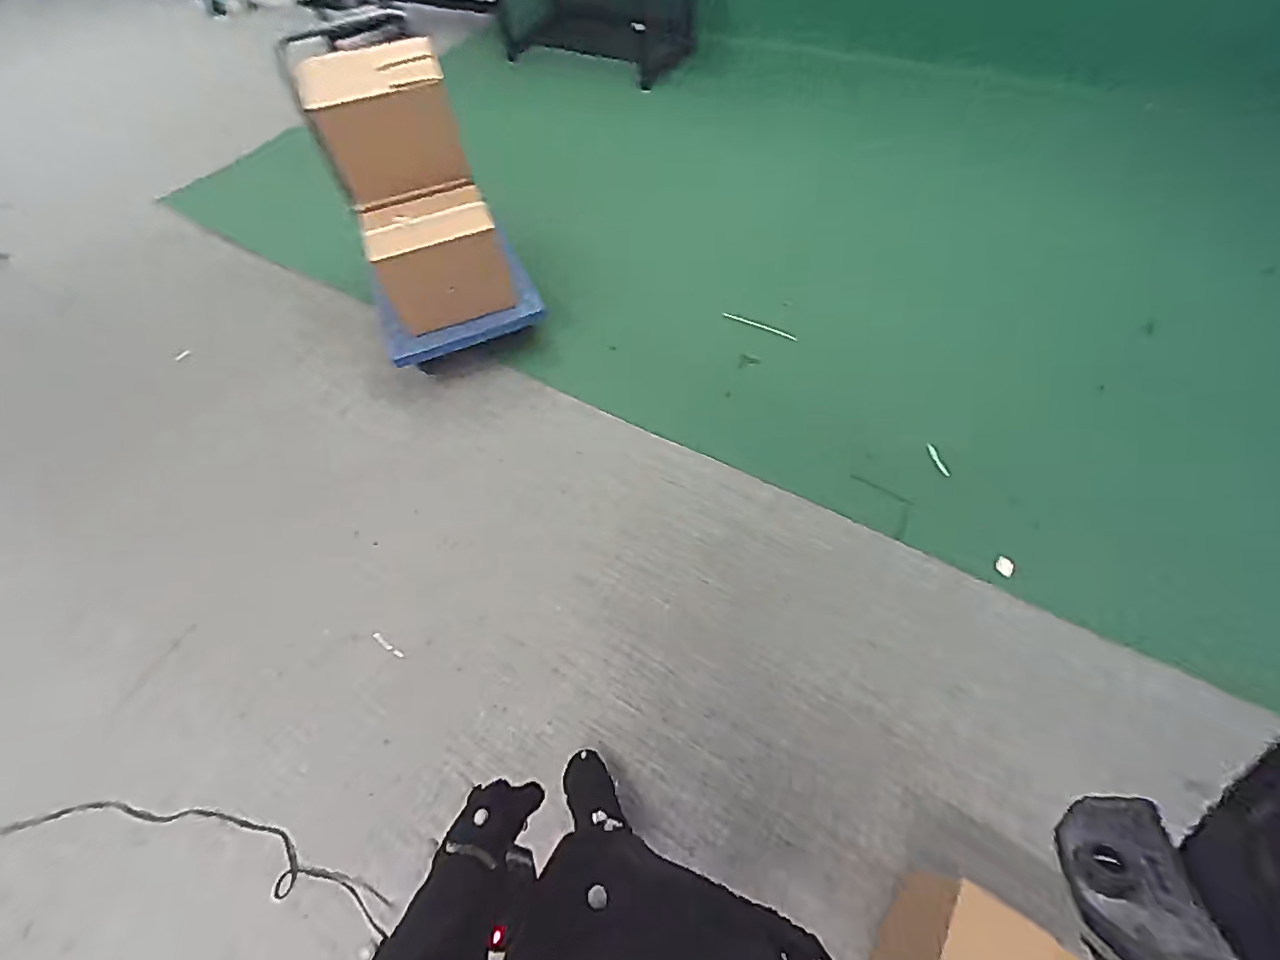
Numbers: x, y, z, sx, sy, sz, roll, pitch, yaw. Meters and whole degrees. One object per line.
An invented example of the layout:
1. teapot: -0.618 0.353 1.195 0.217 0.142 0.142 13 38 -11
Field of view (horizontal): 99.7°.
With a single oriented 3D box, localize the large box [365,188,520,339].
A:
1. large box: -0.691 -0.764 1.920 0.408 0.320 0.320 -21 56 -8
